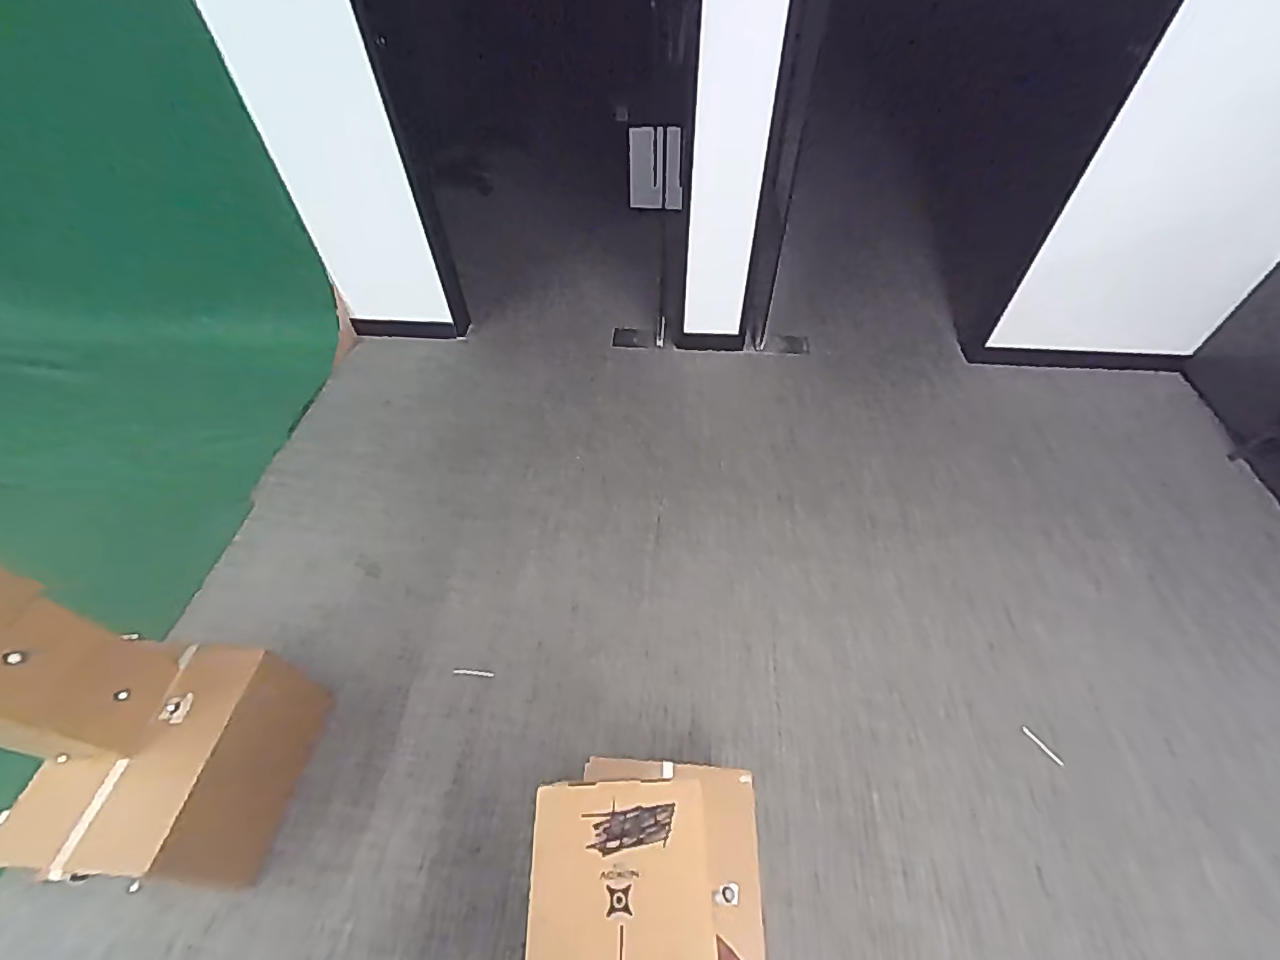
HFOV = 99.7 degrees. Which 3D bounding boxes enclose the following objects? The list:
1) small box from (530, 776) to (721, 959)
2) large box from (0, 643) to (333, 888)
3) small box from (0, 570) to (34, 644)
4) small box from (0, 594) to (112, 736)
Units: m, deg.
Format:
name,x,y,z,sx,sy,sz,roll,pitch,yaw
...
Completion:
name,x,y,z,sx,sy,sz,roll,pitch,yaw
small box,-0.012,0.421,0.551,0.168,0.176,0.179,-4,50,1
large box,-0.951,0.609,1.159,0.320,0.320,0.408,2,49,4
small box,-1.048,0.192,0.767,0.168,0.176,0.179,1,51,7
small box,-1.043,0.302,0.888,0.168,0.176,0.179,0,51,6
